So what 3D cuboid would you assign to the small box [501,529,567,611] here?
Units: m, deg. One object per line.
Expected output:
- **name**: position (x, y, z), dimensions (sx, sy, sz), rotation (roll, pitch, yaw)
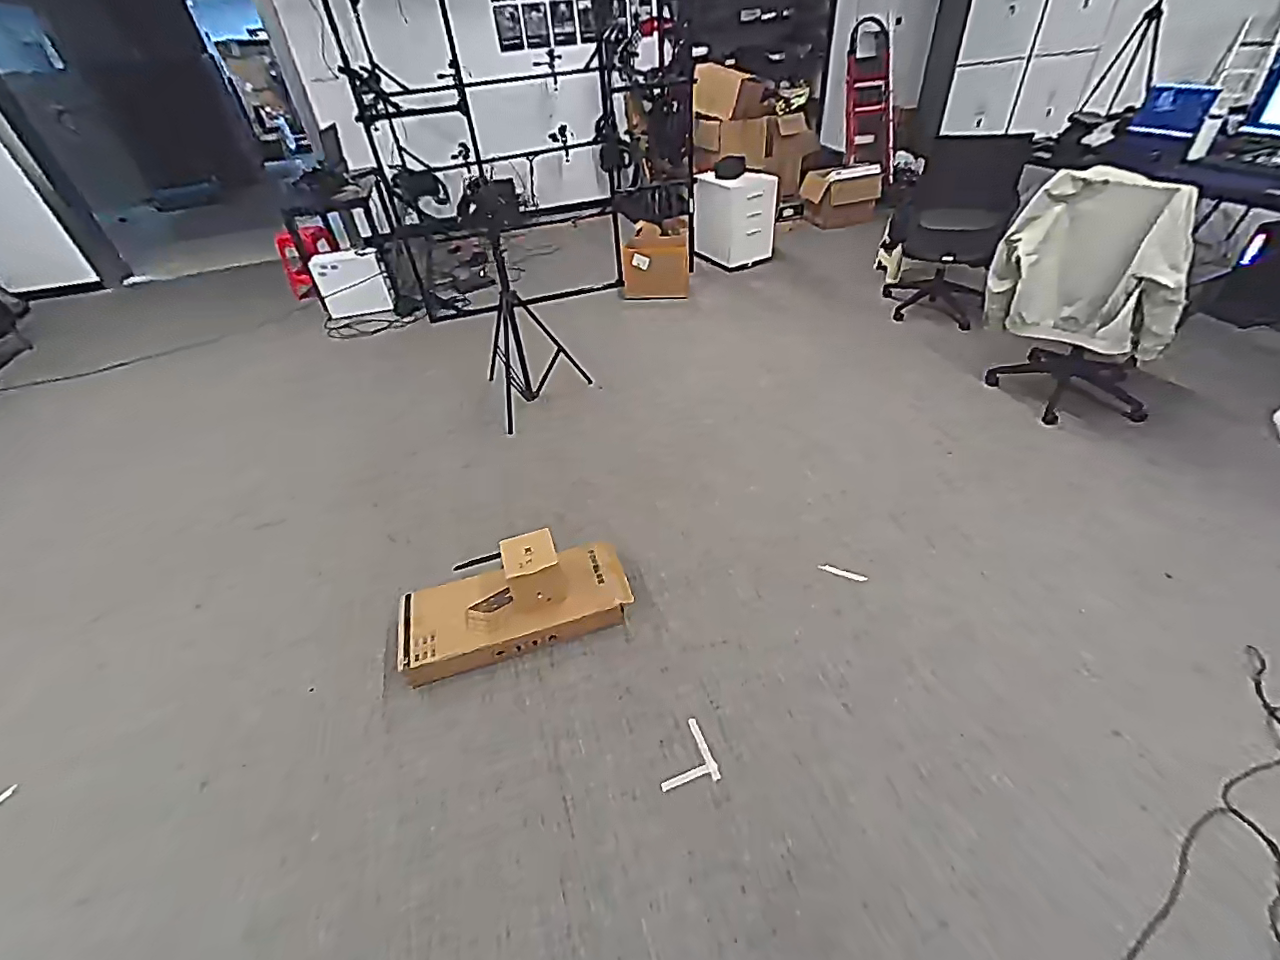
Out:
- **small box**: position (-0.344, 0.294, 1.762), dimensions (0.168, 0.176, 0.179), rotation (-16, 40, -11)
